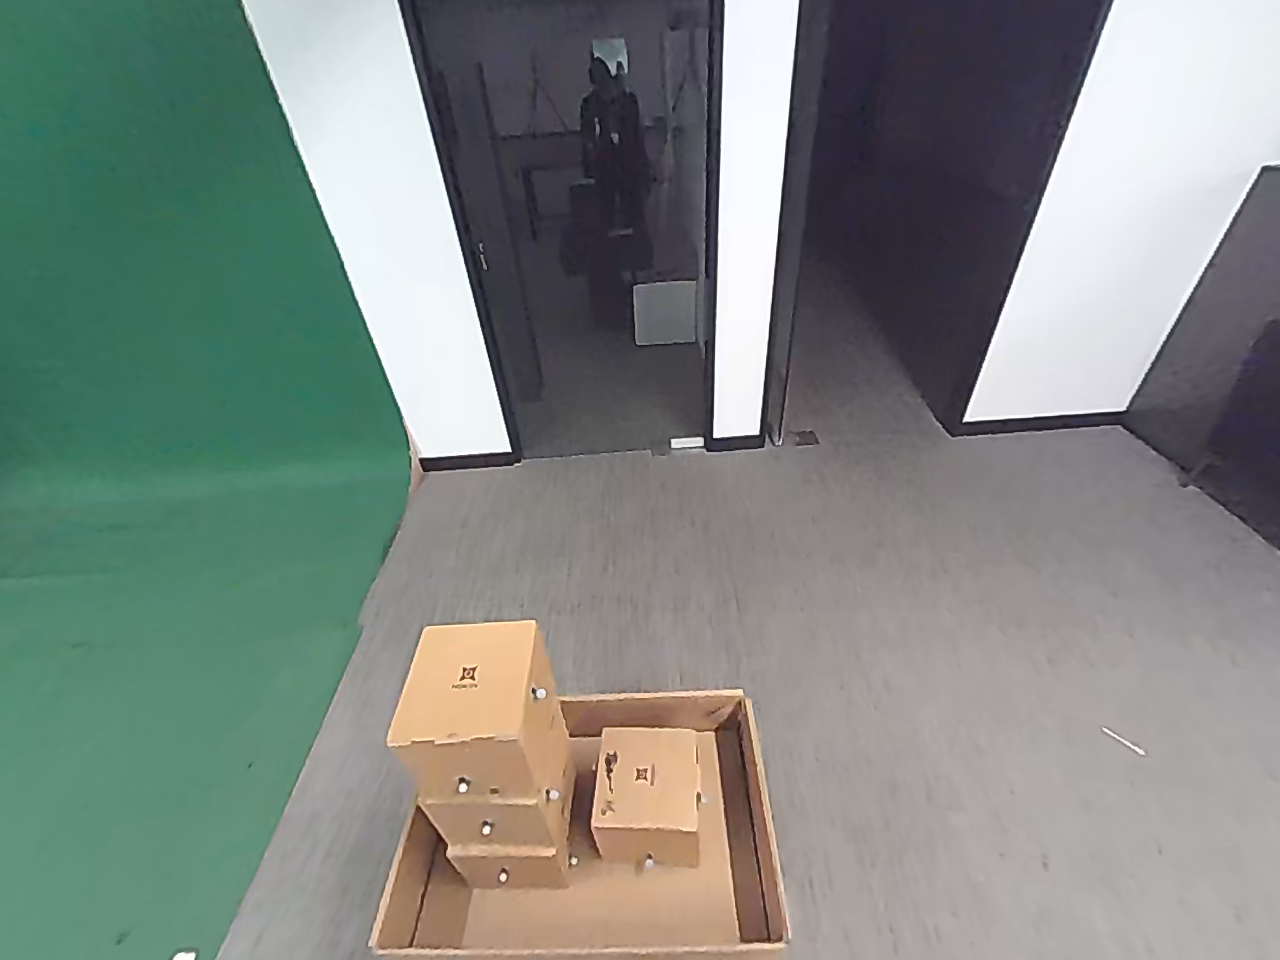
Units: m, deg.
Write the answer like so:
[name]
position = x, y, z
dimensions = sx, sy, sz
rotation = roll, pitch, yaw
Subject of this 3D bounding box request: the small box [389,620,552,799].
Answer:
[small box]
position = -0.223, 0.324, 0.770
dimensions = 0.168, 0.176, 0.179
rotation = -3, 38, 1
